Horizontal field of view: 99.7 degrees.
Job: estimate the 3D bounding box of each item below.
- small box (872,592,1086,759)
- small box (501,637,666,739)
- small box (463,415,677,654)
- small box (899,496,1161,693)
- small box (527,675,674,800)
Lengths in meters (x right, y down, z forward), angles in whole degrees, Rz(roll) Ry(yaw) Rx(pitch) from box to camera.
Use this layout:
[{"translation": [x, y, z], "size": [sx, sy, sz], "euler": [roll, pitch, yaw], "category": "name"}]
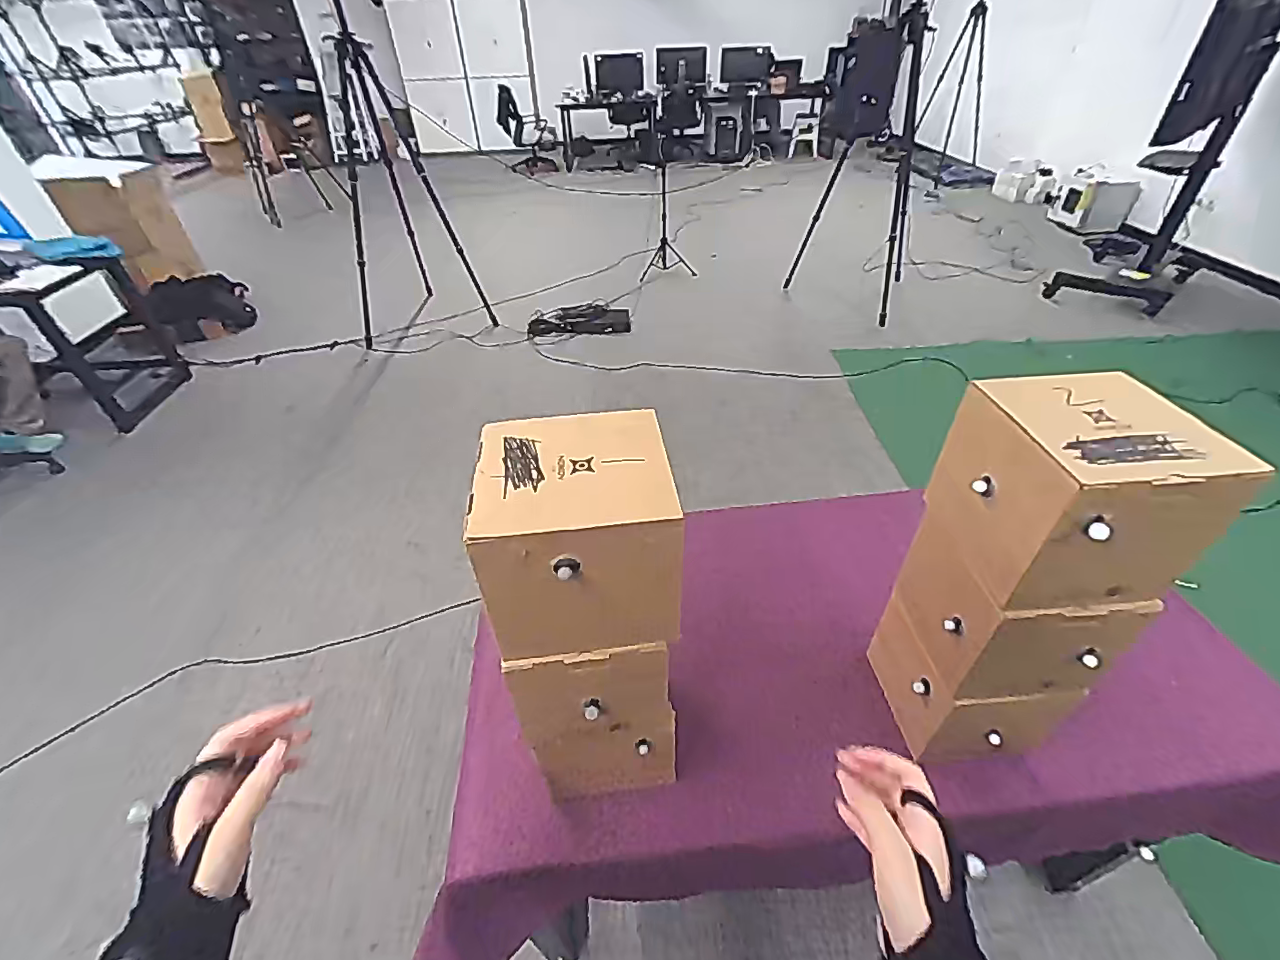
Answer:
[{"translation": [0.451, 0.270, 0.755], "size": [0.168, 0.176, 0.179], "euler": [-4, 39, -1], "category": "small box"}, {"translation": [-0.062, 0.185, 0.641], "size": [0.168, 0.176, 0.179], "euler": [-6, 40, -5], "category": "small box"}, {"translation": [-0.060, 0.055, 0.540], "size": [0.179, 0.176, 0.168], "euler": [-6, 39, -5], "category": "small box"}, {"translation": [0.443, 0.142, 0.654], "size": [0.168, 0.176, 0.179], "euler": [-3, 39, 0], "category": "small box"}, {"translation": [-0.050, 0.314, 0.742], "size": [0.179, 0.176, 0.168], "euler": [-6, 39, -4], "category": "small box"}]
